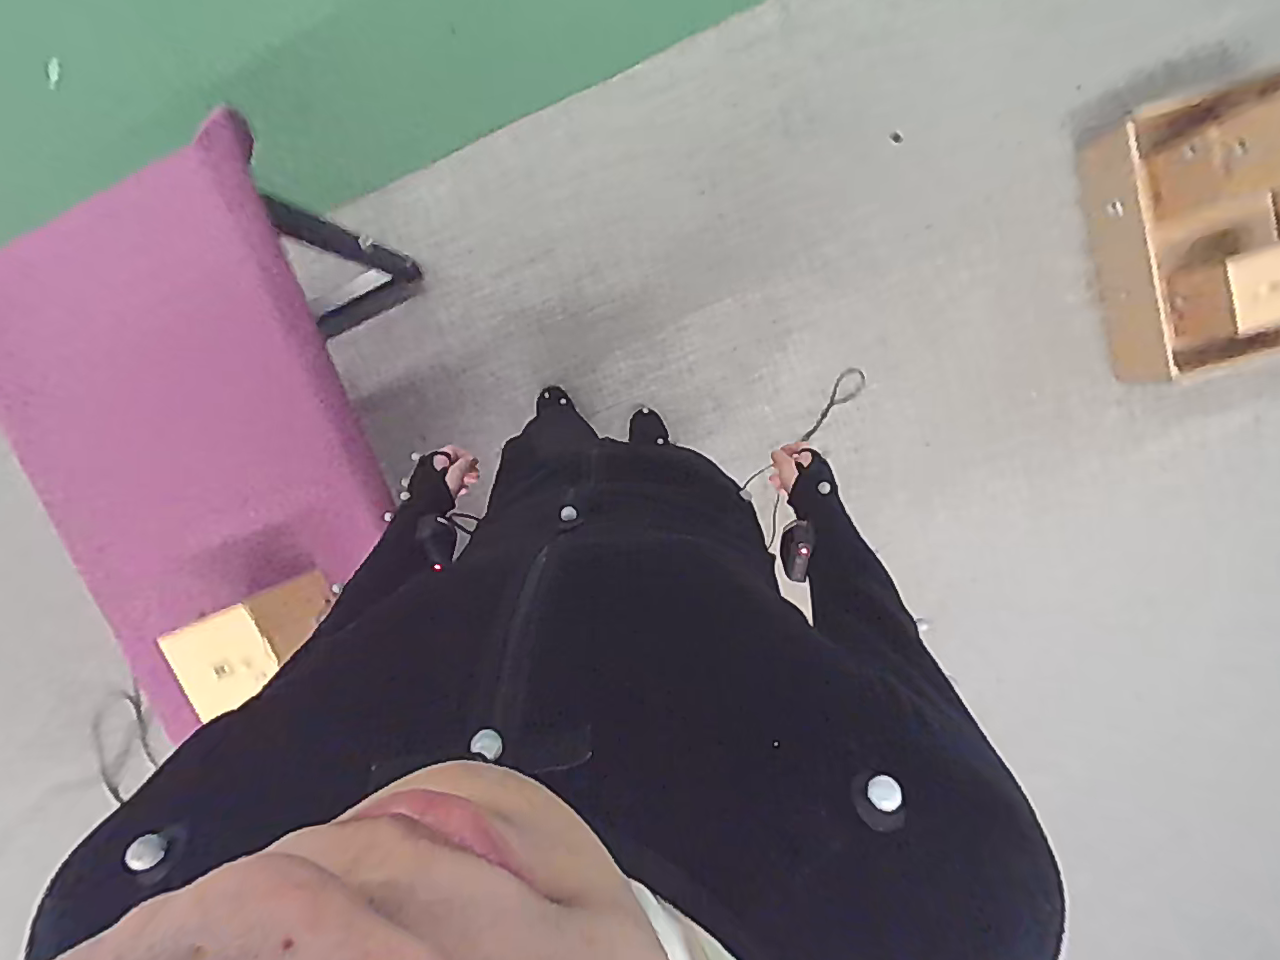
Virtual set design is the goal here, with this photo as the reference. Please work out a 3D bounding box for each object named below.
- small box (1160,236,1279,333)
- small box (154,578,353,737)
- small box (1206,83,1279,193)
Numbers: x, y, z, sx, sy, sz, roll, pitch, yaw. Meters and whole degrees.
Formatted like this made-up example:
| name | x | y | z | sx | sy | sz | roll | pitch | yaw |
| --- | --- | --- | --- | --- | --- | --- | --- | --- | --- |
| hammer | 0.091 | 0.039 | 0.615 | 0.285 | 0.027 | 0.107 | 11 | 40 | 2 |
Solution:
| name | x | y | z | sx | sy | sz | roll | pitch | yaw |
| --- | --- | --- | --- | --- | --- | --- | --- | --- | --- |
| small box | 1.399 | -0.459 | 1.274 | 0.179 | 0.176 | 0.168 | -16 | 96 | 8 |
| small box | -0.630 | 0.287 | 0.904 | 0.179 | 0.176 | 0.168 | -23 | 97 | 8 |
| small box | 1.306 | -0.705 | 1.077 | 0.179 | 0.176 | 0.168 | -16 | 98 | 7 |
